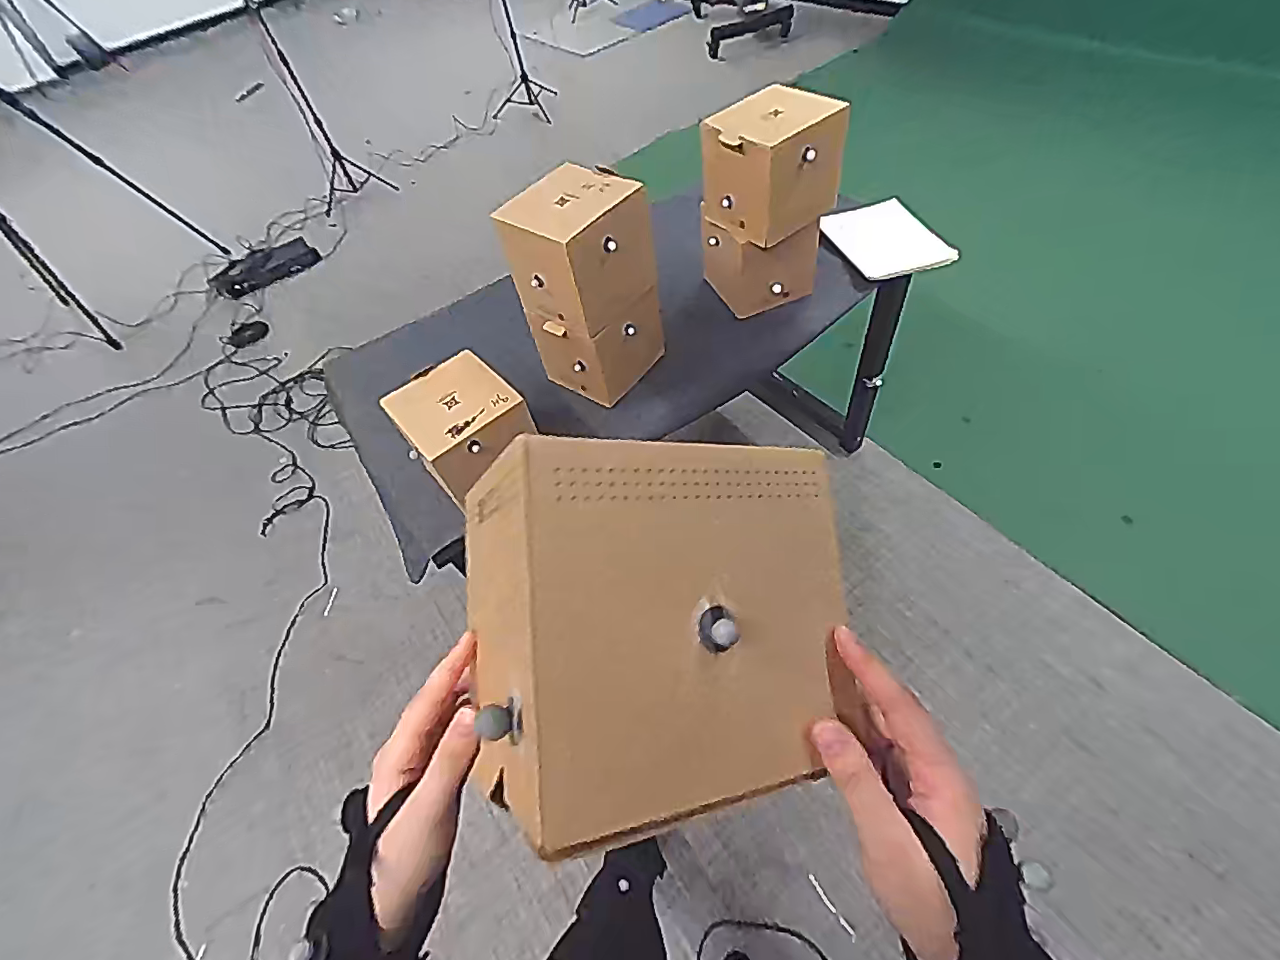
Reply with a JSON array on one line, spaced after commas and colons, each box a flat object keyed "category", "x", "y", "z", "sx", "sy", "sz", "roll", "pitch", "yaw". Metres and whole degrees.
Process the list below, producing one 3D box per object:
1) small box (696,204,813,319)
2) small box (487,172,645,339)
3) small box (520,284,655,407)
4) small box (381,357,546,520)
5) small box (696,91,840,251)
[{"category": "small box", "x": 0.223, "y": -0.458, "z": 1.089, "sx": 0.168, "sy": 0.176, "sz": 0.179, "roll": -22, "pitch": 54, "yaw": -5}, {"category": "small box", "x": -0.107, "y": -0.359, "z": 0.874, "sx": 0.168, "sy": 0.176, "sz": 0.179, "roll": 31, "pitch": 65, "yaw": 27}, {"category": "small box", "x": -0.086, "y": -0.266, "z": 1.009, "sx": 0.168, "sy": 0.176, "sz": 0.179, "roll": 29, "pitch": 63, "yaw": 25}, {"category": "small box", "x": -0.284, "y": -0.066, "z": 0.896, "sx": 0.168, "sy": 0.176, "sz": 0.179, "roll": -39, "pitch": 58, "yaw": -18}, {"category": "small box", "x": 0.217, "y": -0.538, "z": 0.946, "sx": 0.179, "sy": 0.176, "sz": 0.168, "roll": -36, "pitch": 56, "yaw": -15}]
